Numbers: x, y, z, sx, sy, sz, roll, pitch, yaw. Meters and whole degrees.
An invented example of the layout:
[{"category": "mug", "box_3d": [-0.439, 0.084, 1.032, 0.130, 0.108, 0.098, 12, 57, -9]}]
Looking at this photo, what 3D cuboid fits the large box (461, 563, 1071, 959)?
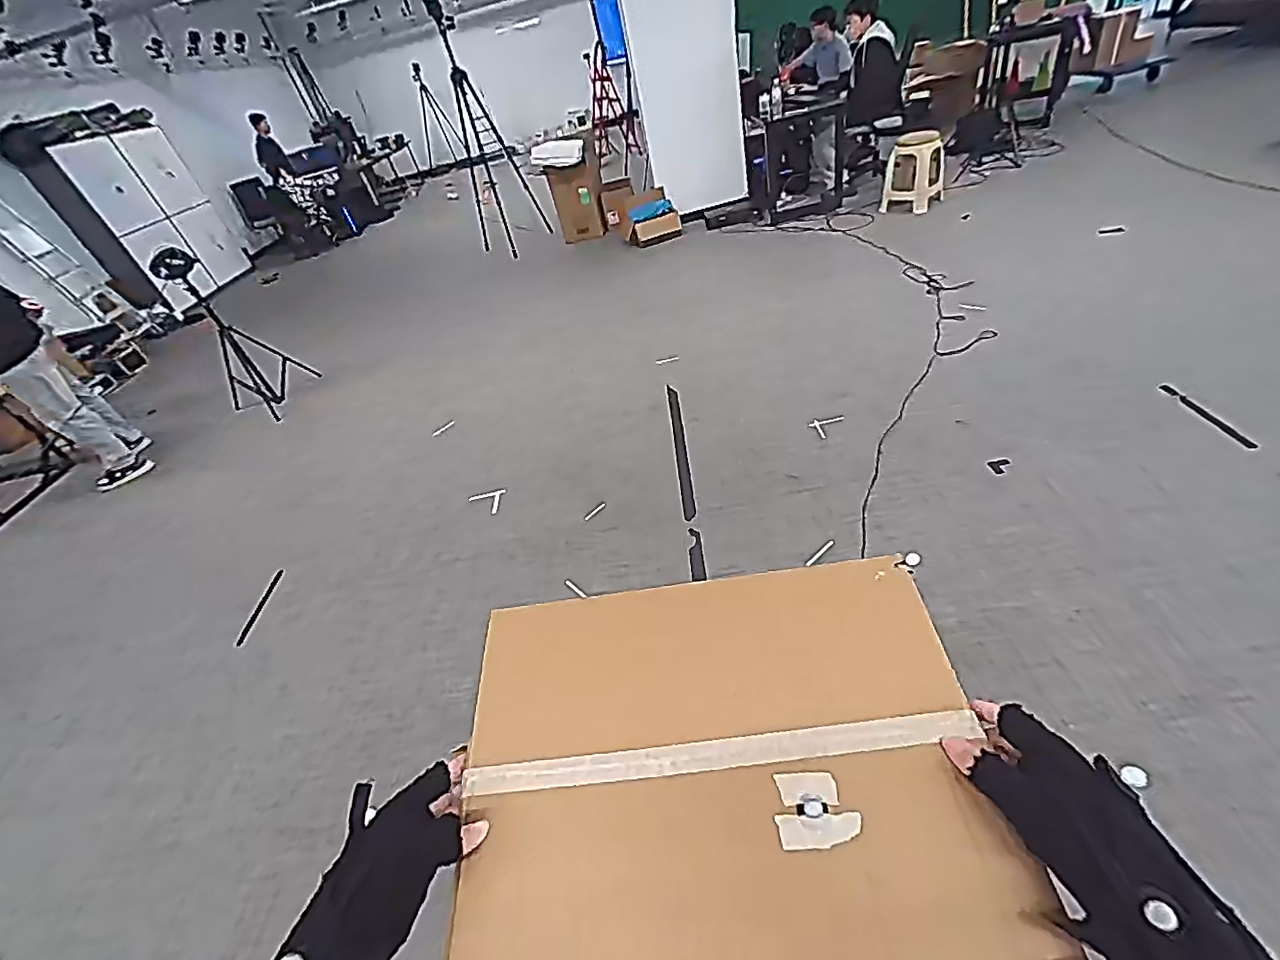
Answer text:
[{"category": "large box", "box_3d": [0.085, 0.322, 0.549, 0.408, 0.320, 0.320, -9, 48, 5]}]
